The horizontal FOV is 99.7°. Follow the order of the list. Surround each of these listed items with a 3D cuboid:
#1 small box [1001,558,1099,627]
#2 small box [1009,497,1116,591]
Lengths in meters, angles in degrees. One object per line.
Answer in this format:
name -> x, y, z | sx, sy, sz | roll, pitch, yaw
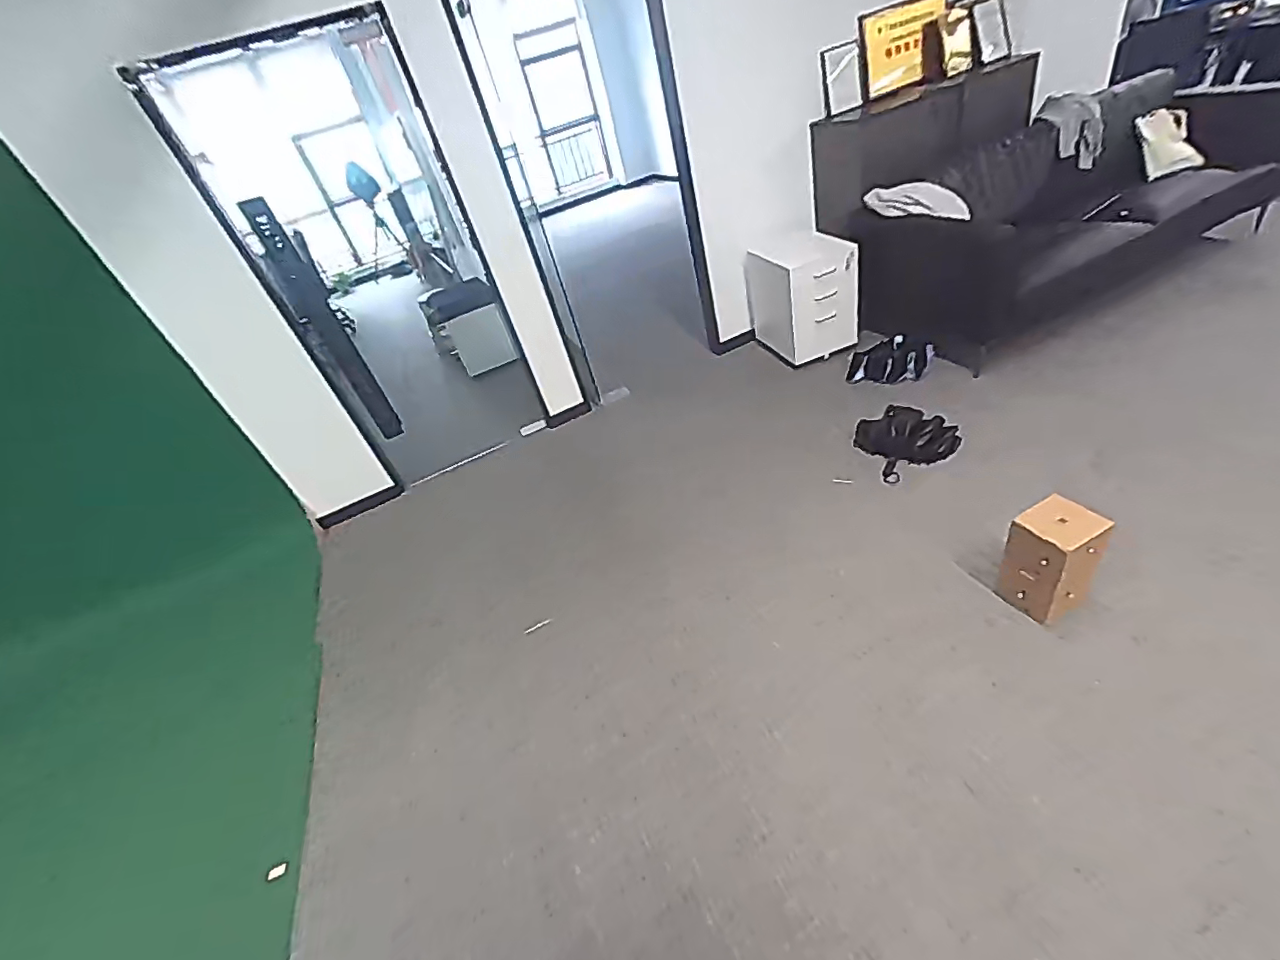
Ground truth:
small box -> 1.238, 0.313, 1.647 | 0.179, 0.176, 0.168 | -26, 37, -12
small box -> 1.201, 0.187, 1.551 | 0.179, 0.176, 0.168 | -25, 37, -12
